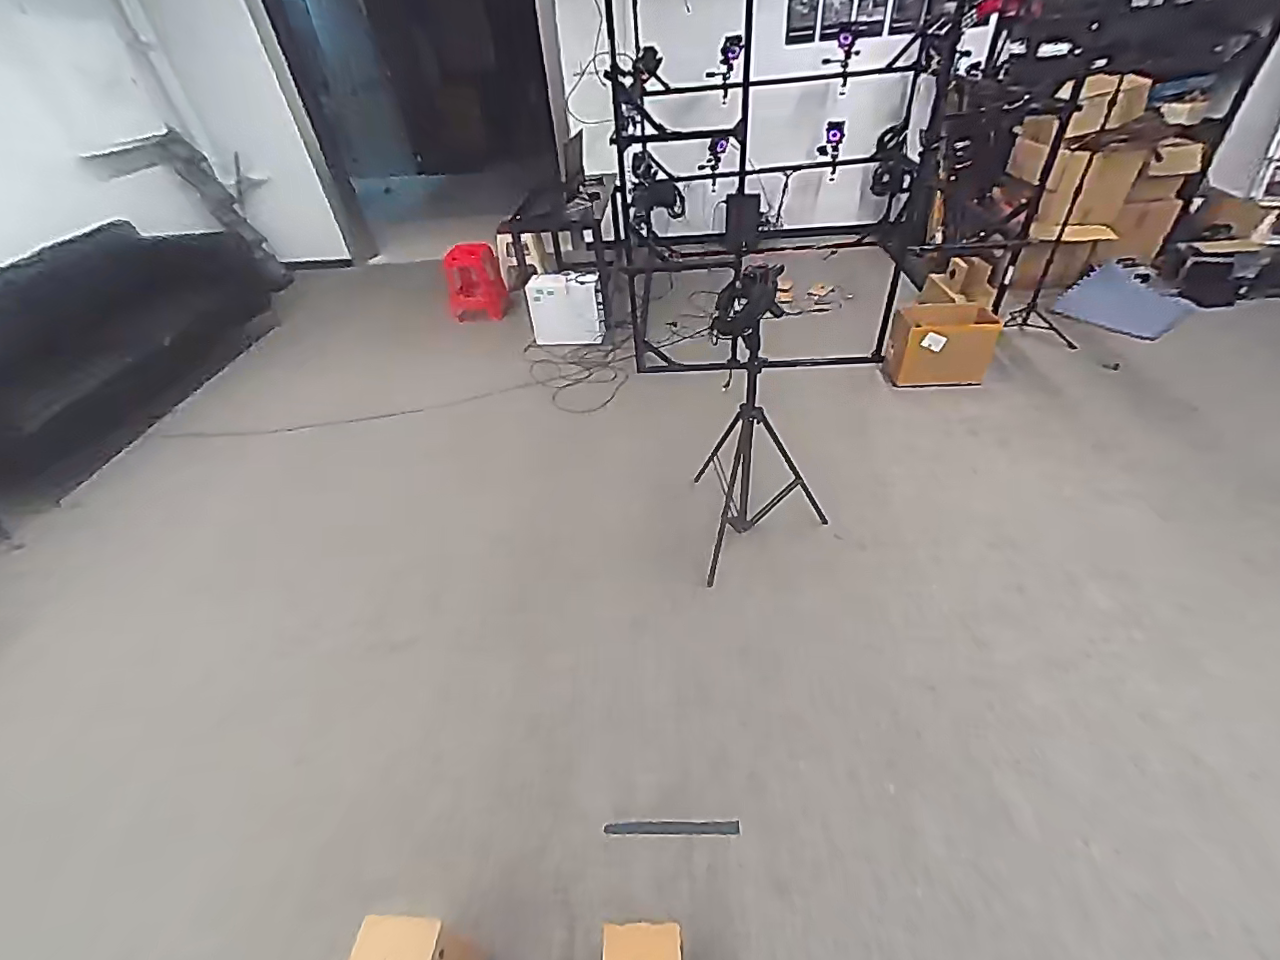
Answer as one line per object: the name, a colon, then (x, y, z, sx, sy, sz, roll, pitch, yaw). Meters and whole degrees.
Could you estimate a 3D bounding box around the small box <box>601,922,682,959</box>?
small box: (0.007, 1.071, 1.151, 0.168, 0.176, 0.179, -4, 39, 3)

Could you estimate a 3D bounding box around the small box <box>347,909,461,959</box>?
small box: (-0.470, 0.978, 1.062, 0.168, 0.176, 0.179, -1, 41, 7)
